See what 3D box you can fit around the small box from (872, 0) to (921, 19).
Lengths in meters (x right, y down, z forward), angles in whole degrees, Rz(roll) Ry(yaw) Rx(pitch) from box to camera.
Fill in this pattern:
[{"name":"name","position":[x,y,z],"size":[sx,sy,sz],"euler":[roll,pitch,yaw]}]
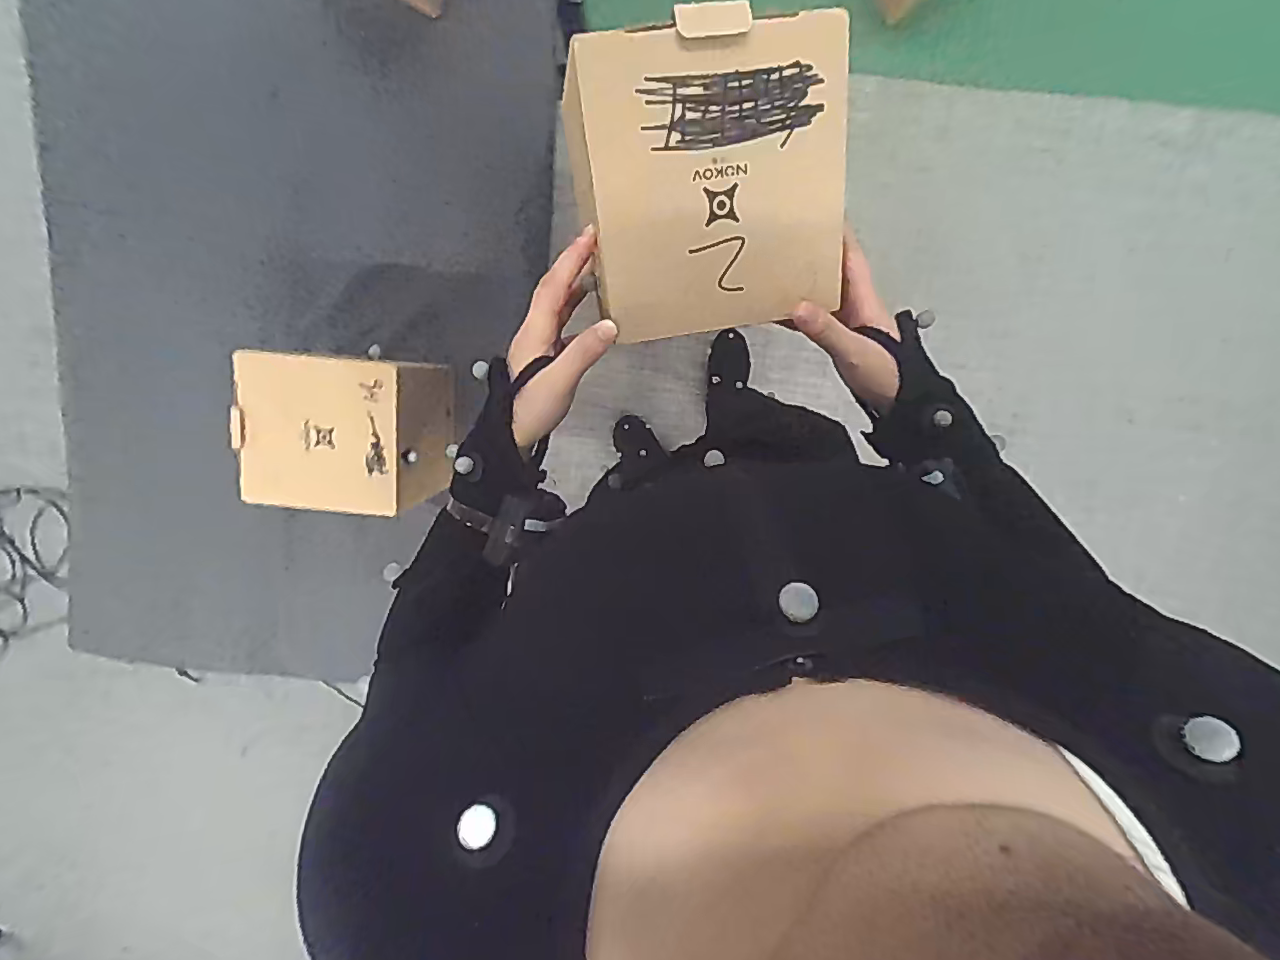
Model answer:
[{"name":"small box","position":[0.592,-1.152,1.162],"size":[0.168,0.176,0.179],"euler":[-38,98,8]}]

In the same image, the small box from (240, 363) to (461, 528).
[{"name":"small box","position":[-0.336,-0.049,0.656],"size":[0.179,0.176,0.168],"euler":[5,102,1]}]
